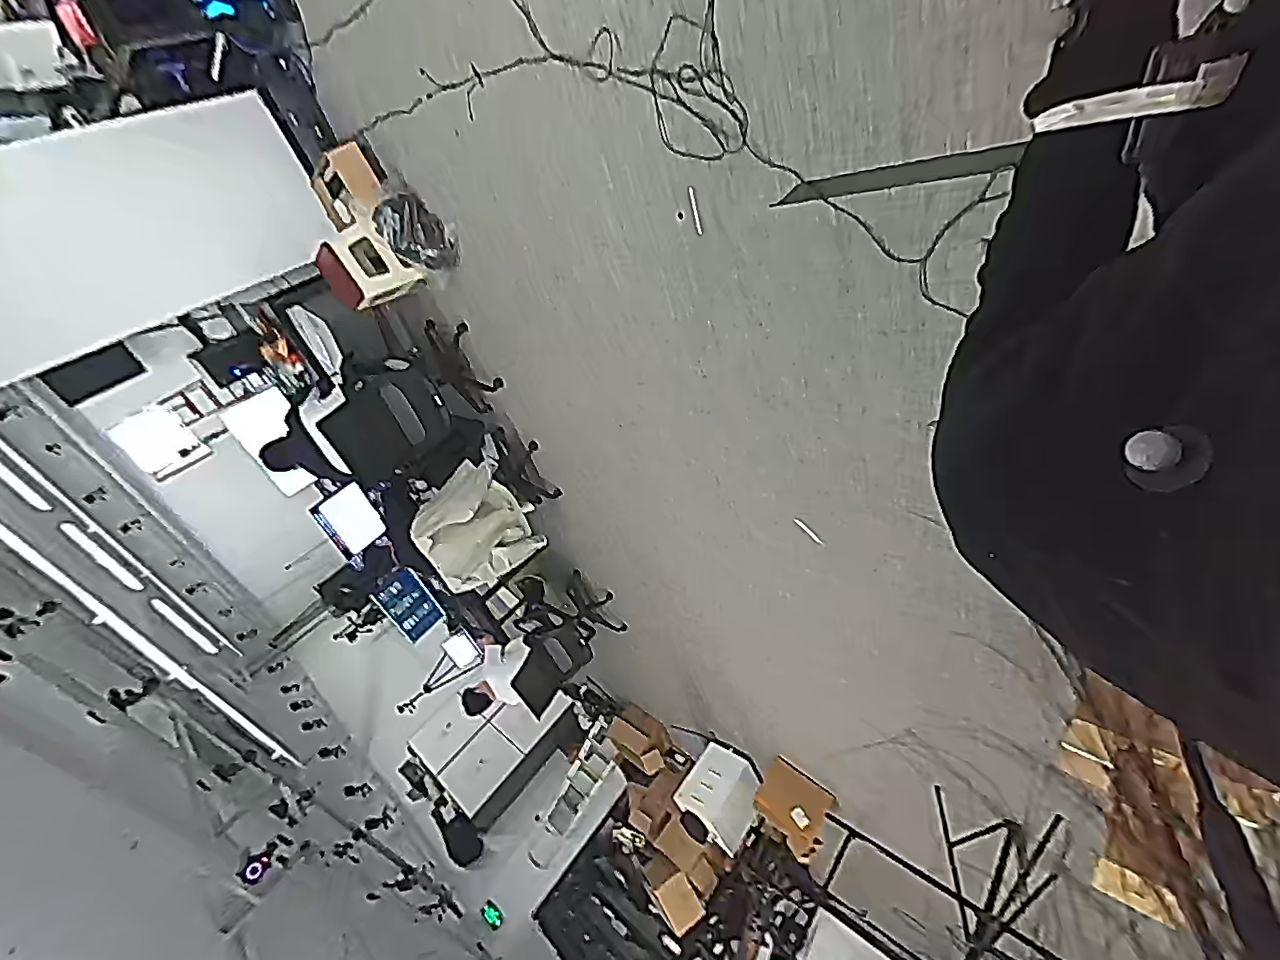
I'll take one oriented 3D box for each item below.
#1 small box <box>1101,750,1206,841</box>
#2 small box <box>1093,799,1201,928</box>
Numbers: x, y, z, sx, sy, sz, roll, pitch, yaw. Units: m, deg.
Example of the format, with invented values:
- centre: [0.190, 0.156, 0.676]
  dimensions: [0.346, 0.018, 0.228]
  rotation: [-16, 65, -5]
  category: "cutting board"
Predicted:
- centre: [1.378, 0.870, 1.452]
  dimensions: [0.179, 0.176, 0.168]
  rotation: [15, 135, 44]
  category: "small box"
- centre: [1.276, 0.958, 1.361]
  dimensions: [0.168, 0.176, 0.179]
  rotation: [15, 135, 42]
  category: "small box"
